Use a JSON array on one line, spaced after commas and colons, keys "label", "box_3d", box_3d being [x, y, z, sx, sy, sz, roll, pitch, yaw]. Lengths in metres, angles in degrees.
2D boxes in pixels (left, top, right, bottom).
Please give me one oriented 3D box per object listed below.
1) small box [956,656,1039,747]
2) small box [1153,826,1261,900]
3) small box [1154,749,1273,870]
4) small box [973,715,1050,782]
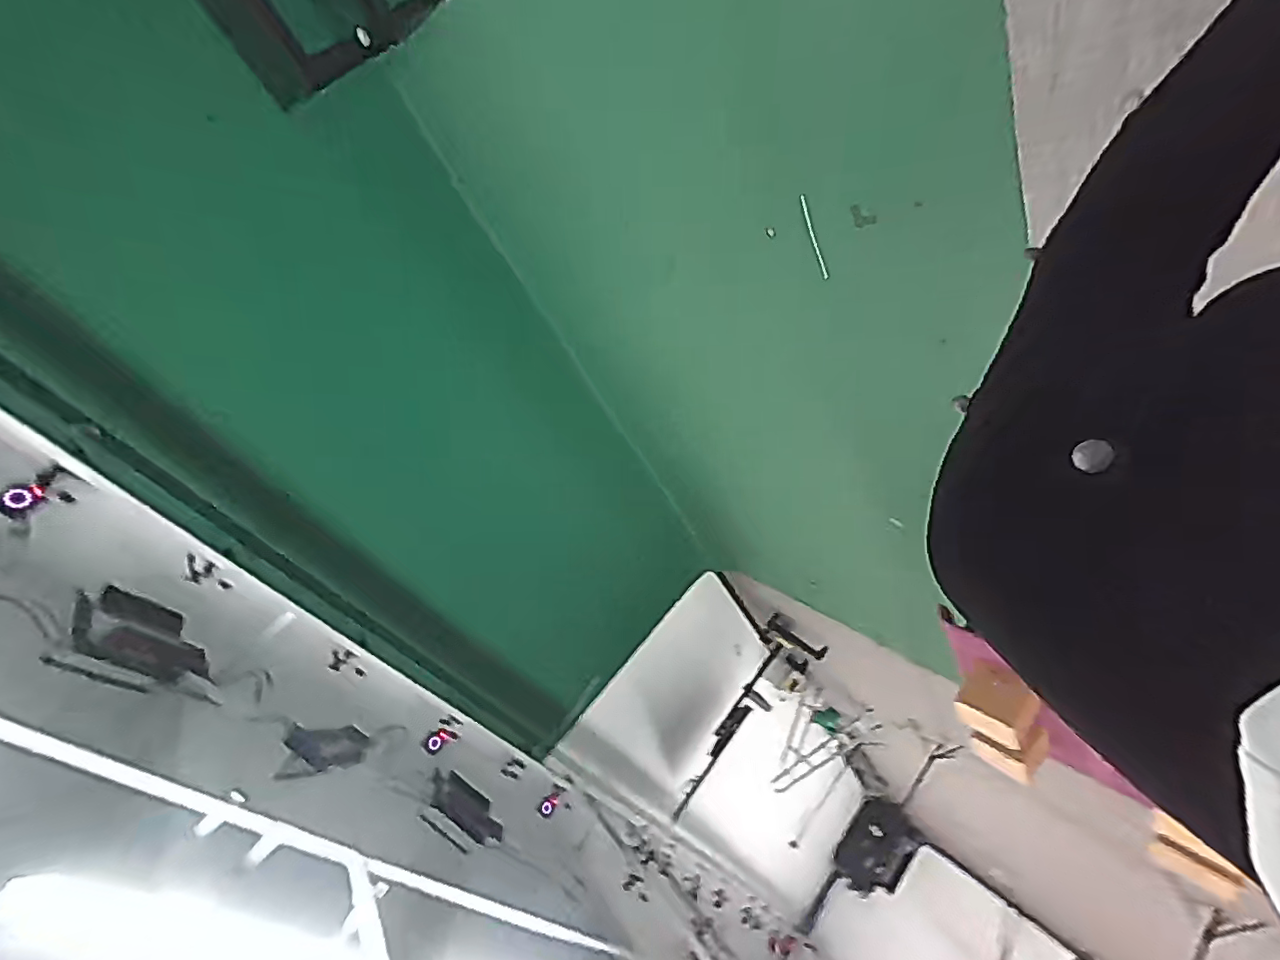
[{"label": "small box", "box_3d": [1.133, 0.695, 1.707, 0.168, 0.176, 0.179, 20, 153, 49]}, {"label": "small box", "box_3d": [1.559, 0.998, 1.491, 0.168, 0.176, 0.179, 21, 152, 50]}, {"label": "small box", "box_3d": [1.425, 0.815, 1.348, 0.168, 0.176, 0.179, 22, 153, 52]}, {"label": "small box", "box_3d": [1.277, 0.883, 1.852, 0.168, 0.176, 0.179, 20, 152, 51]}]
